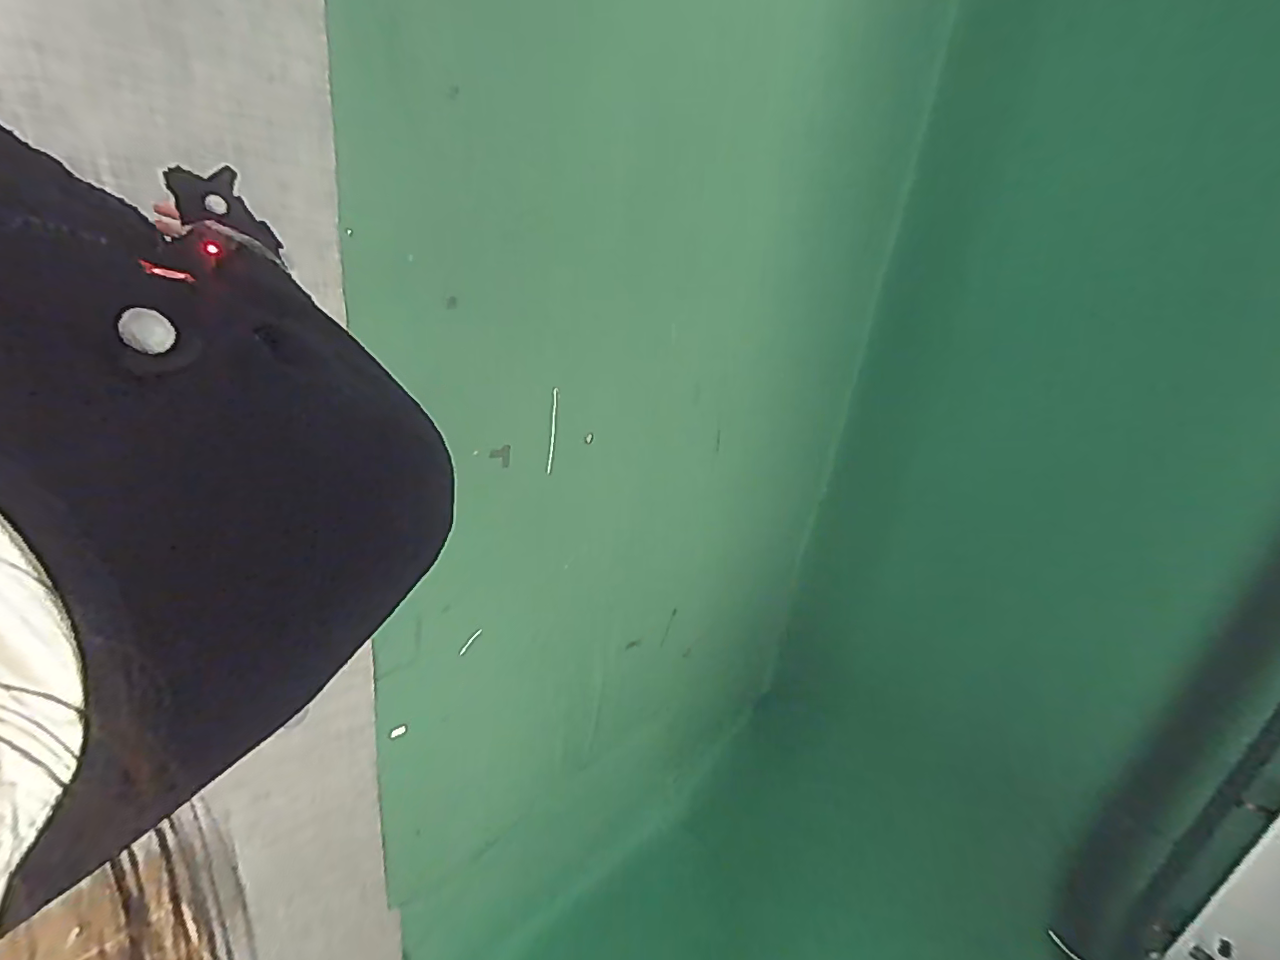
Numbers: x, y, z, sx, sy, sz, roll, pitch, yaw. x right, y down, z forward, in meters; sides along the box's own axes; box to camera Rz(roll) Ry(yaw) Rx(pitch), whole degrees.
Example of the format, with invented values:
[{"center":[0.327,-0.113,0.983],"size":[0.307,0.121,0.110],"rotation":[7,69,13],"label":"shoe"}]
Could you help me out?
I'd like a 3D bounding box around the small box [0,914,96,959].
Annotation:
[{"center":[-1.408,1.189,1.265],"size":[0.179,0.176,0.168],"rotation":[-18,125,-44],"label":"small box"}]
